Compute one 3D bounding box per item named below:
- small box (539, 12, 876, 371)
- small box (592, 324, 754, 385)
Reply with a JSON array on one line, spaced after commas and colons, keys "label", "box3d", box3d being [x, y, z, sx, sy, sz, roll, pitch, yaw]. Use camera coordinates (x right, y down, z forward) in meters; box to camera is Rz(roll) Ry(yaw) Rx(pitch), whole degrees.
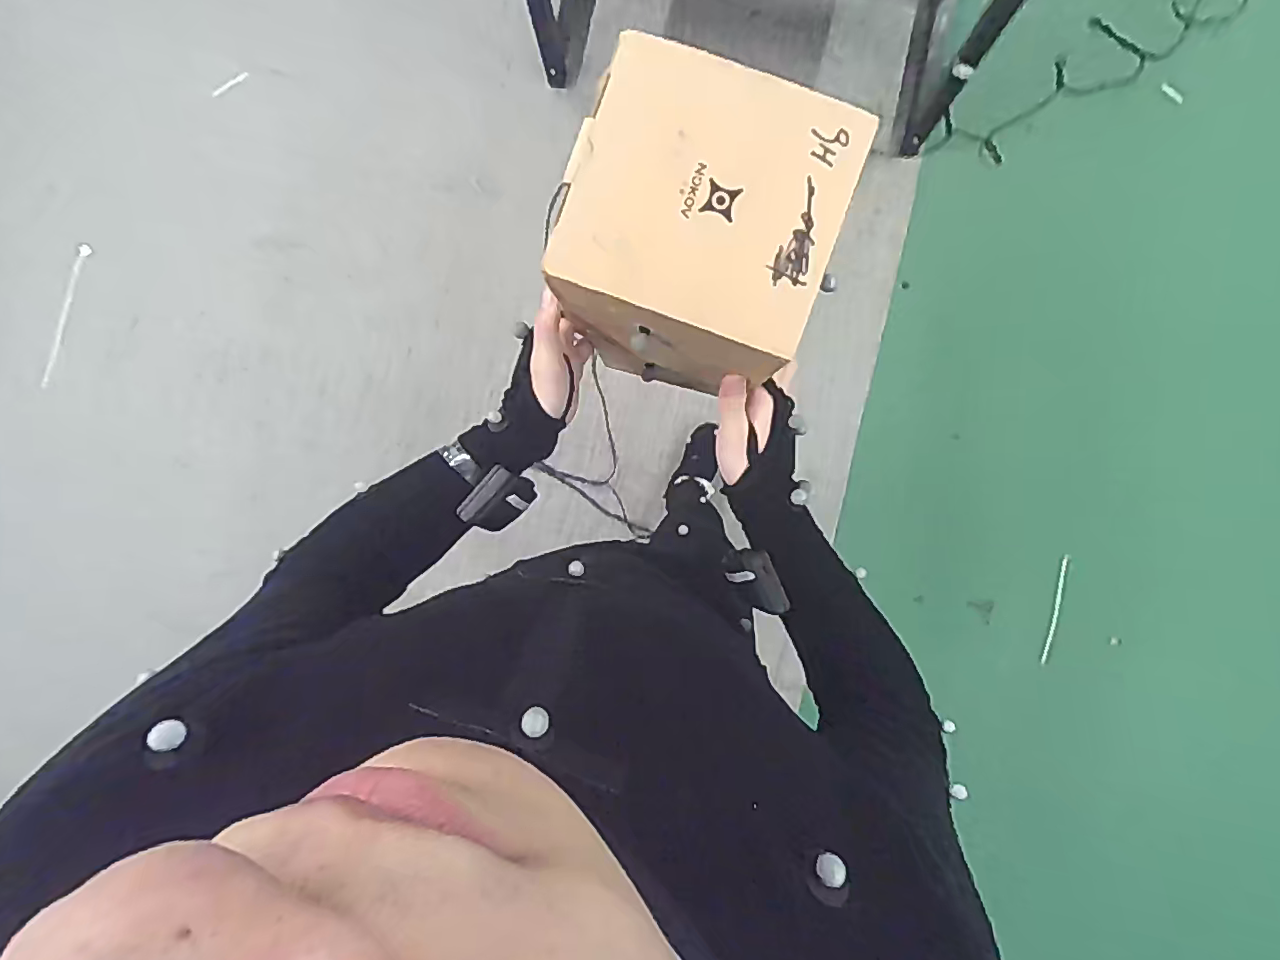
[{"label": "small box", "box3d": [0.045, -0.197, 0.424, 0.179, 0.176, 0.168, 19, 93, 2]}, {"label": "small box", "box3d": [0.057, -0.212, 0.588, 0.168, 0.176, 0.179, 15, 92, 1]}]
